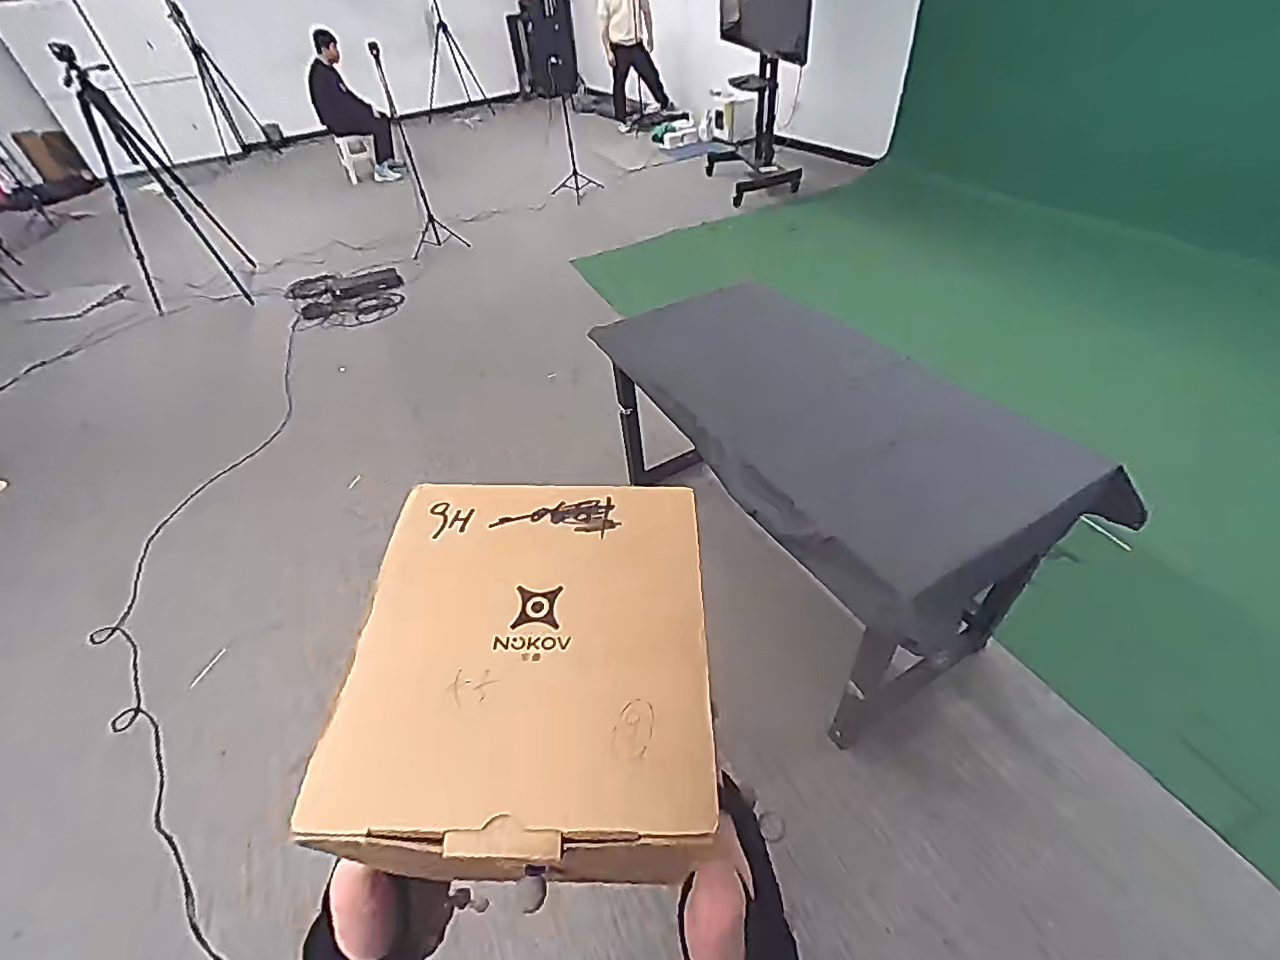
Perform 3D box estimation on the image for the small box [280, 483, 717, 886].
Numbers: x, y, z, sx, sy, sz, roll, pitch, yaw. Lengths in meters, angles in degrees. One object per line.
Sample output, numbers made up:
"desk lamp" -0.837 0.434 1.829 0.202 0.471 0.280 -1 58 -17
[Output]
"small box" -0.052 0.121 0.311 0.168 0.176 0.179 2 50 -2
